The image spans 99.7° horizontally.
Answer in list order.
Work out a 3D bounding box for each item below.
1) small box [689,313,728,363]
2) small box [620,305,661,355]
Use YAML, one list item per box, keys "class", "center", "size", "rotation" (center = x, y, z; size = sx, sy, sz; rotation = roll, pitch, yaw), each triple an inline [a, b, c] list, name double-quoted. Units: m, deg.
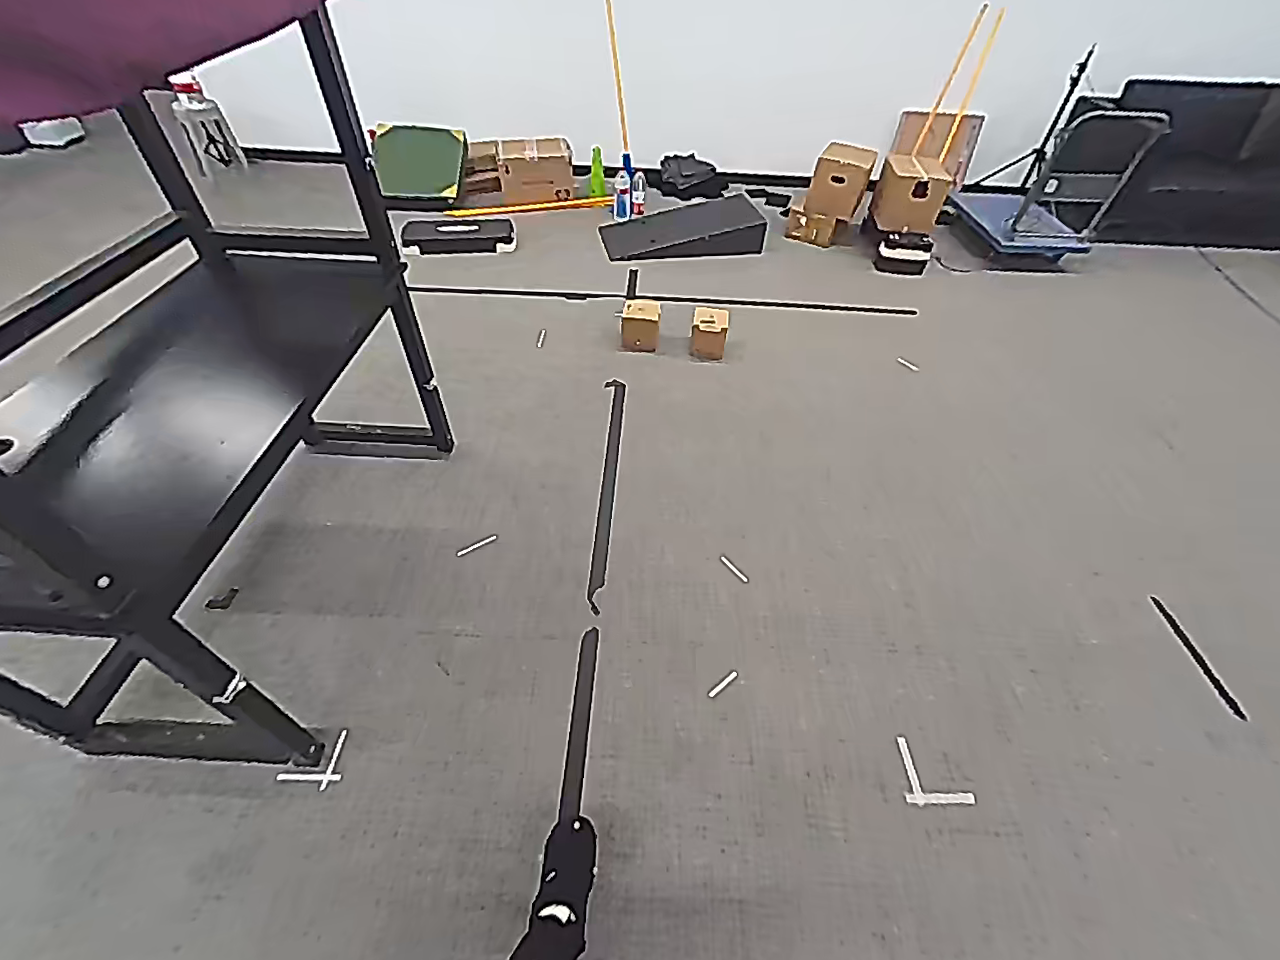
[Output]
- class: "small box"
  center: [0.330, -0.688, 2.630]
  size: [0.168, 0.176, 0.179]
  rotation: [8, 45, 4]
- class: "small box"
  center: [0.001, -0.730, 2.647]
  size: [0.179, 0.176, 0.168]
  rotation: [8, 46, 3]
